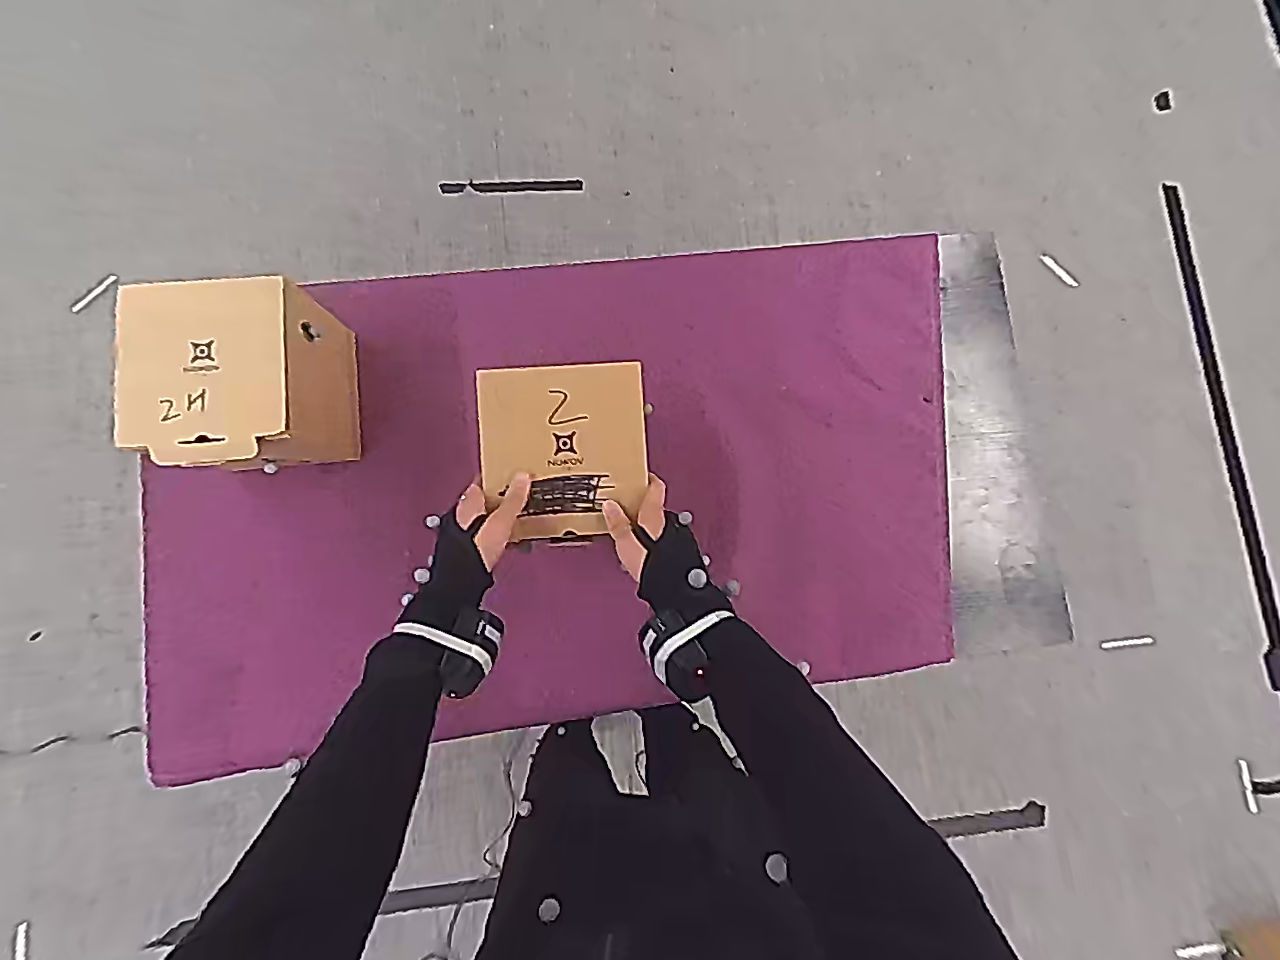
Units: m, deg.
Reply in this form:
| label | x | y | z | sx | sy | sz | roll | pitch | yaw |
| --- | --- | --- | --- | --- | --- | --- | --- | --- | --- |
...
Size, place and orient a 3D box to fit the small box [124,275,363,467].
| label | x | y | z | sx | sy | sz | roll | pitch | yaw |
| --- | --- | --- | --- | --- | --- | --- | --- | --- | --- |
| small box | -0.445 | -0.117 | 0.635 | 0.168 | 0.176 | 0.179 | -5 | 85 | -4 |
